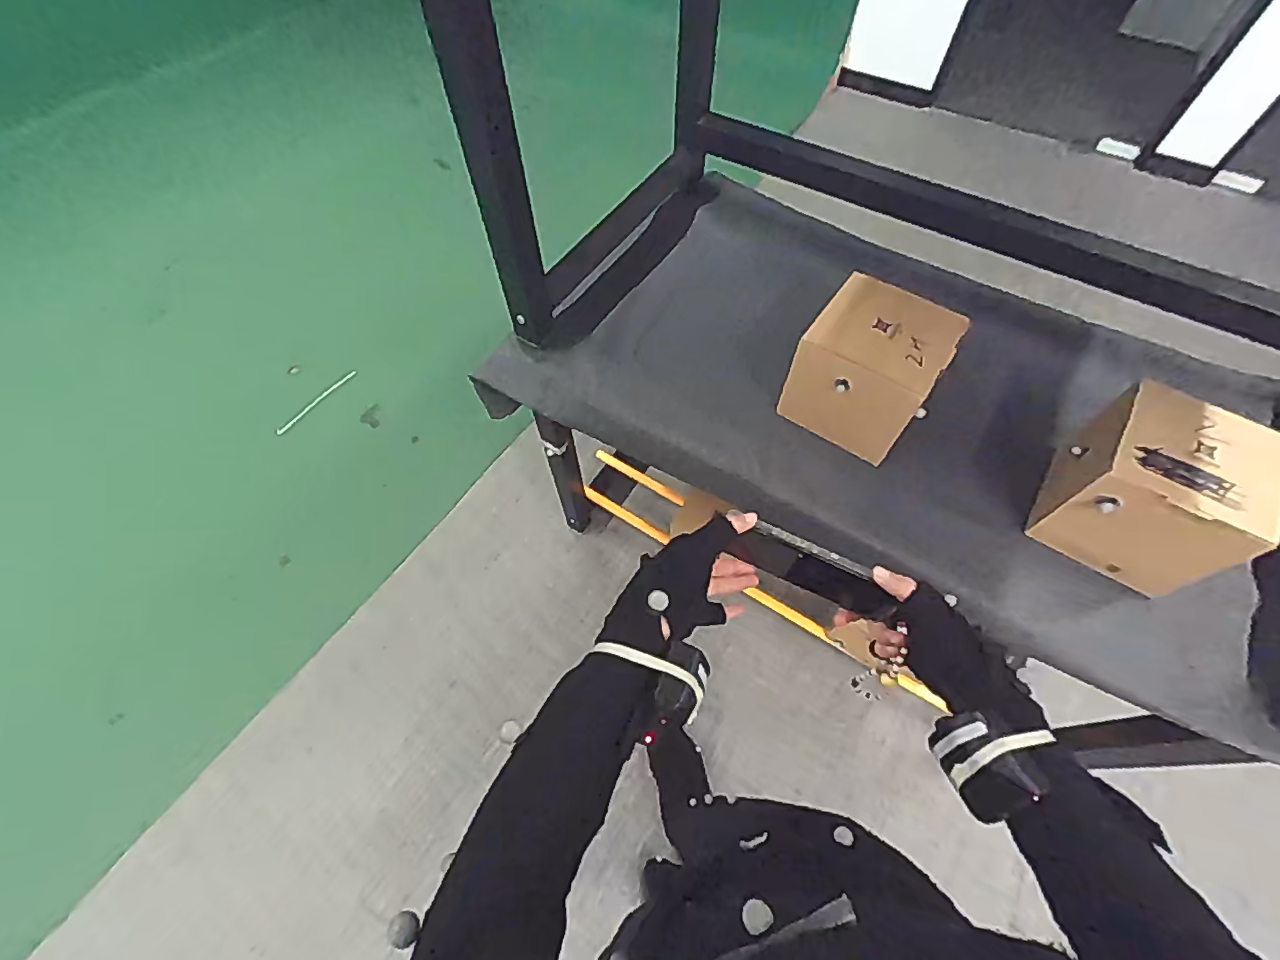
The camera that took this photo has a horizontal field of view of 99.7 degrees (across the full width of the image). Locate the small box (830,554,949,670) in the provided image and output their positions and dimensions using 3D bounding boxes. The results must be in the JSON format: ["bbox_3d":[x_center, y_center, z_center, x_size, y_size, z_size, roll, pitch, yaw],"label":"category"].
[{"bbox_3d":[0.555,0.306,1.229,0.168,0.176,0.179,33,66,17],"label":"small box"}]

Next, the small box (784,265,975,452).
[{"bbox_3d":[0.332,-0.170,0.786,0.179,0.176,0.168,32,66,18],"label":"small box"}]
